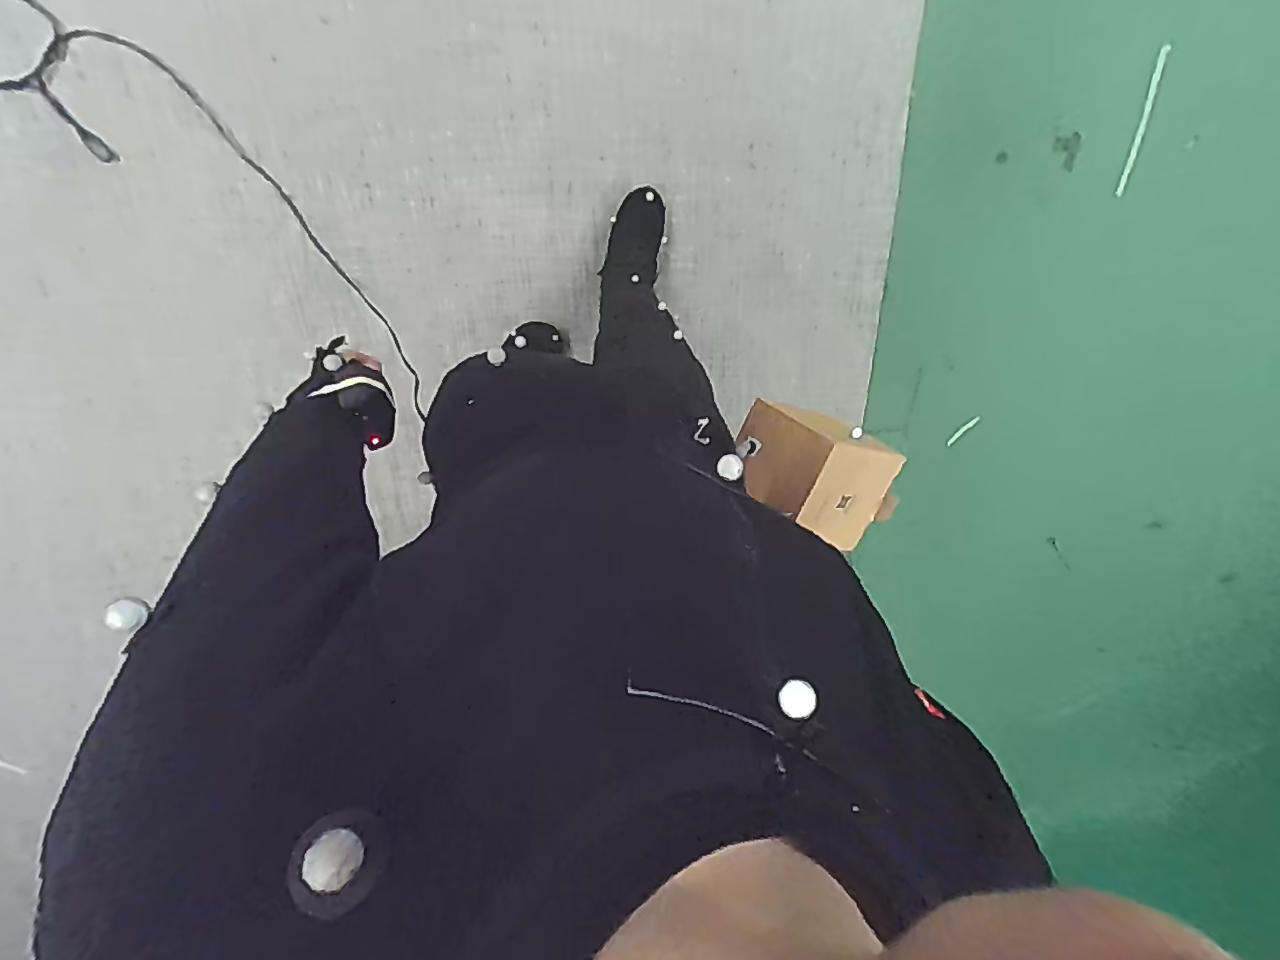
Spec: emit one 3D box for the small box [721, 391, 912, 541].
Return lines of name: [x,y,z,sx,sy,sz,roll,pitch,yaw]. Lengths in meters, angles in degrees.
small box: [0.257,-0.022,0.813,0.179,0.176,0.168,4,115,-34]
